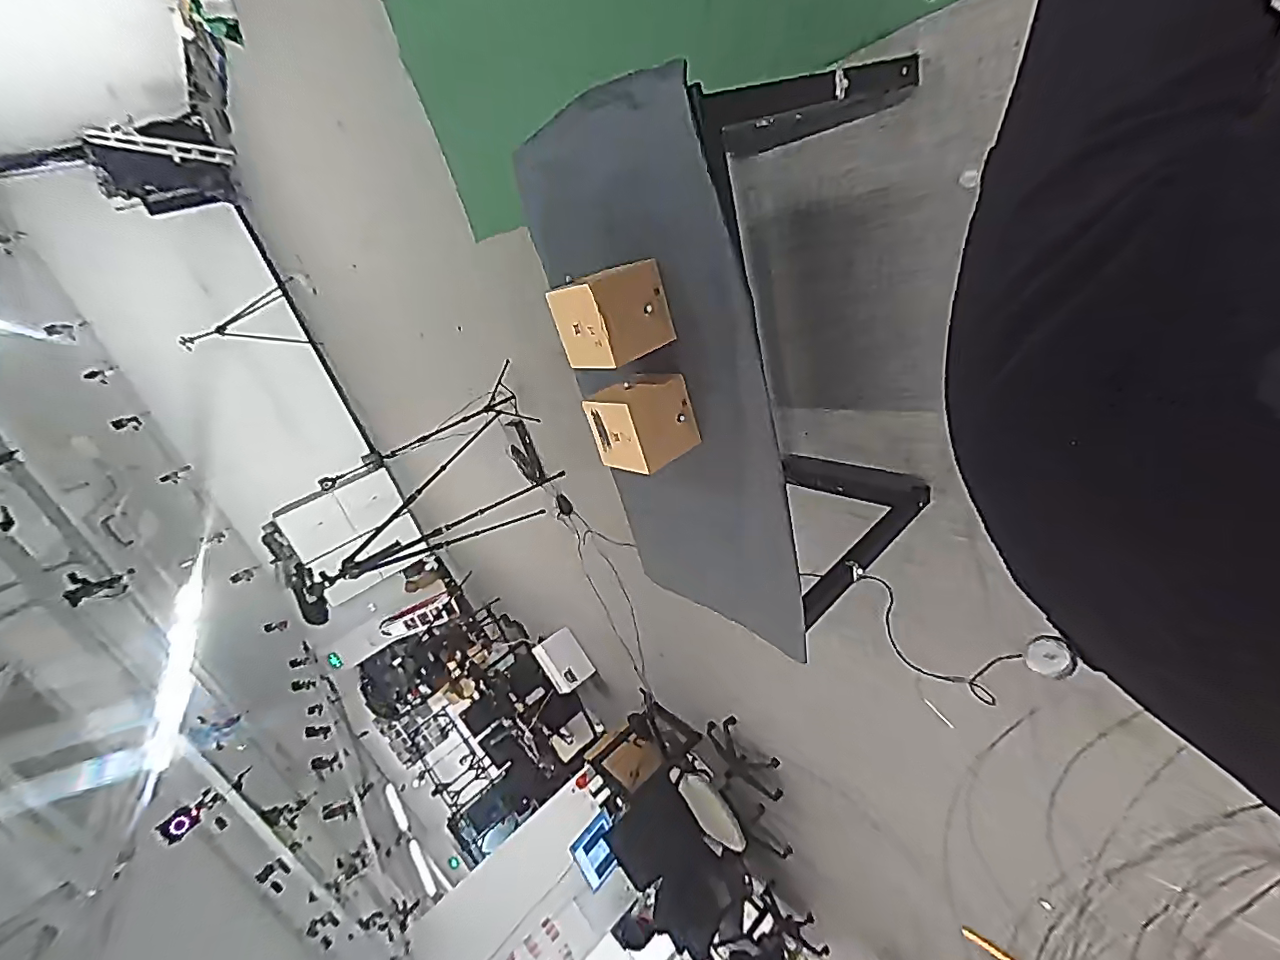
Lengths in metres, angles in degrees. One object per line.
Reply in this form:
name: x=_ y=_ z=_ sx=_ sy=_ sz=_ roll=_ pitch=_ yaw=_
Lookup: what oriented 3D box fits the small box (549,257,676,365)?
small box: x=-0.054 y=-0.345 z=1.117 sx=0.179 sy=0.176 sz=0.168 roll=15 pitch=130 yaw=51
